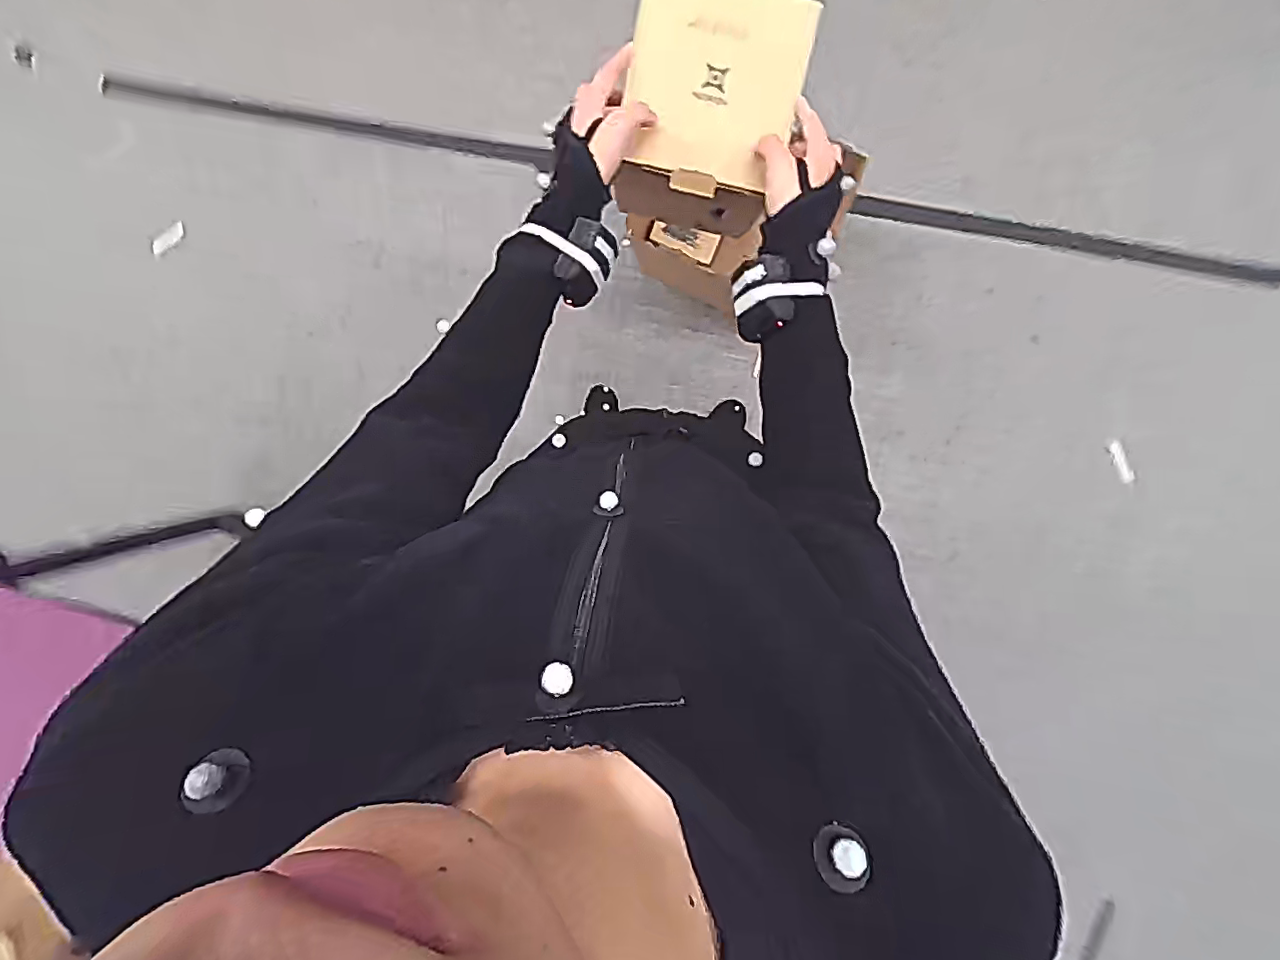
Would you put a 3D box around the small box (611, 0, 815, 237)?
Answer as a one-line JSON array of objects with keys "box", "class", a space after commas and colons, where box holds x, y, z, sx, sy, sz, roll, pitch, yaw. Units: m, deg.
[{"box": [0.069, -0.390, 0.597, 0.168, 0.176, 0.179, 12, 100, -3], "class": "small box"}]
